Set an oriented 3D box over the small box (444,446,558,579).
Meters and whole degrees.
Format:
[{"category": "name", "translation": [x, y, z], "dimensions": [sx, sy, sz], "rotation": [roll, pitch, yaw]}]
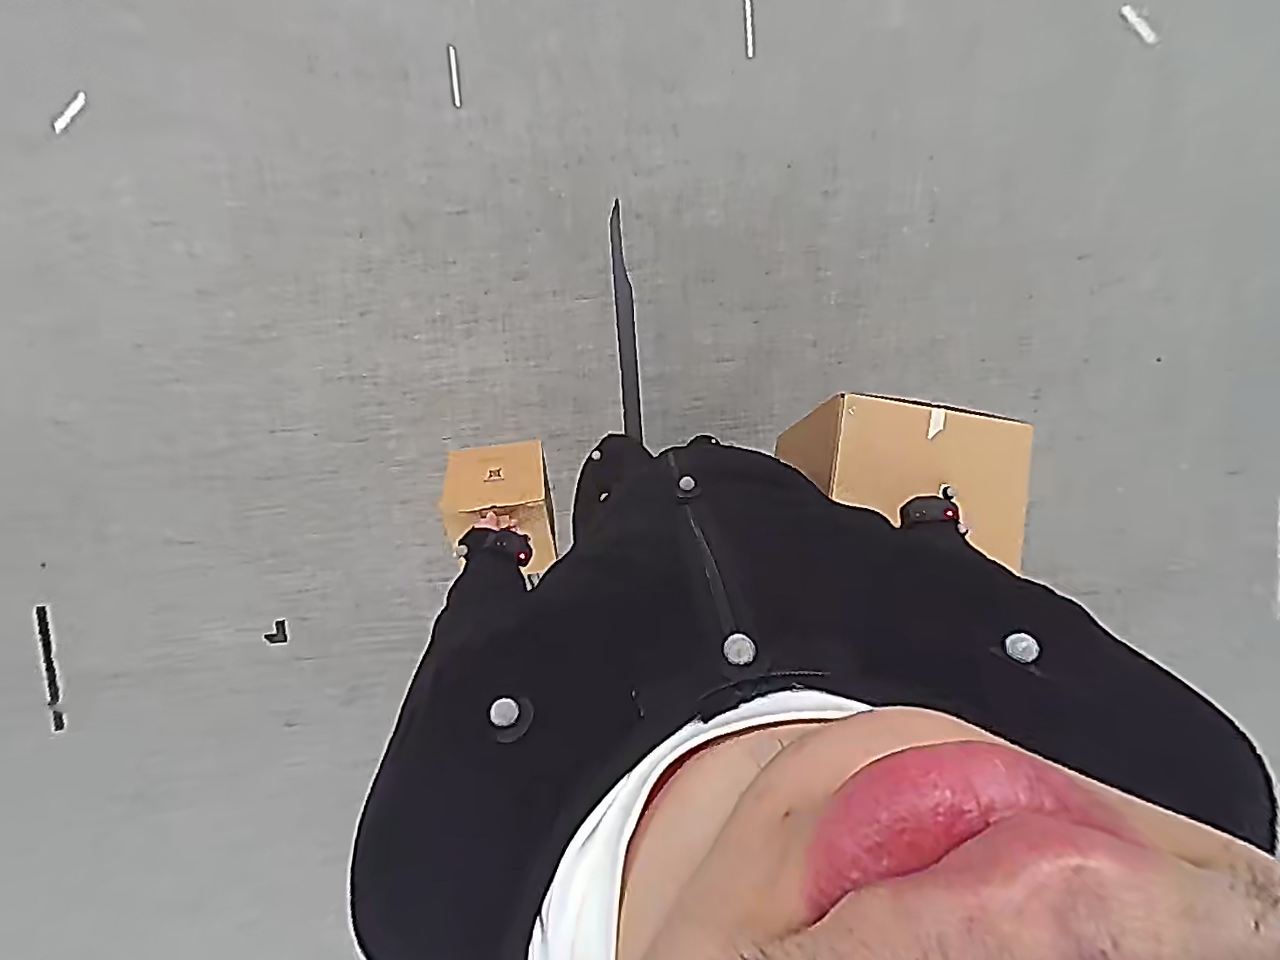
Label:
[{"category": "small box", "translation": [-0.245, 0.063, 0.983], "dimensions": [0.168, 0.179, 0.176], "rotation": [-8, 127, -8]}]
